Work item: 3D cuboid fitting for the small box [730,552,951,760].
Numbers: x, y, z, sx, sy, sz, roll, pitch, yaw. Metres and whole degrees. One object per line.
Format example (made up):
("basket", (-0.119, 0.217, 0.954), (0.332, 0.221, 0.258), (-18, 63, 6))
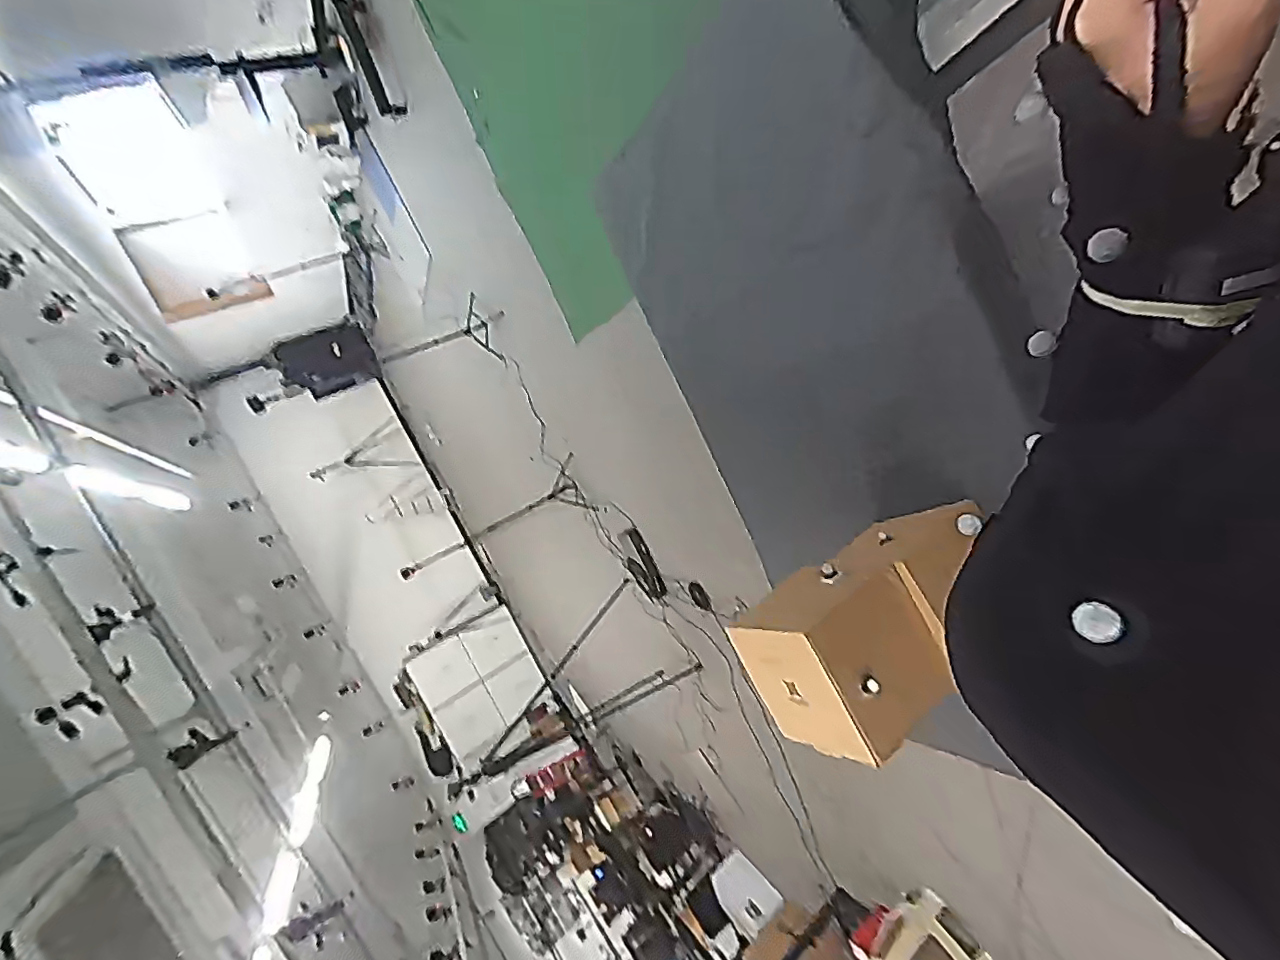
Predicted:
("small box", (0.257, 0.214, 0.698), (0.179, 0.176, 0.168), (61, 153, 0))

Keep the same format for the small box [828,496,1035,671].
("small box", (0.392, 0.143, 0.755), (0.168, 0.176, 0.179), (59, 154, 3))
